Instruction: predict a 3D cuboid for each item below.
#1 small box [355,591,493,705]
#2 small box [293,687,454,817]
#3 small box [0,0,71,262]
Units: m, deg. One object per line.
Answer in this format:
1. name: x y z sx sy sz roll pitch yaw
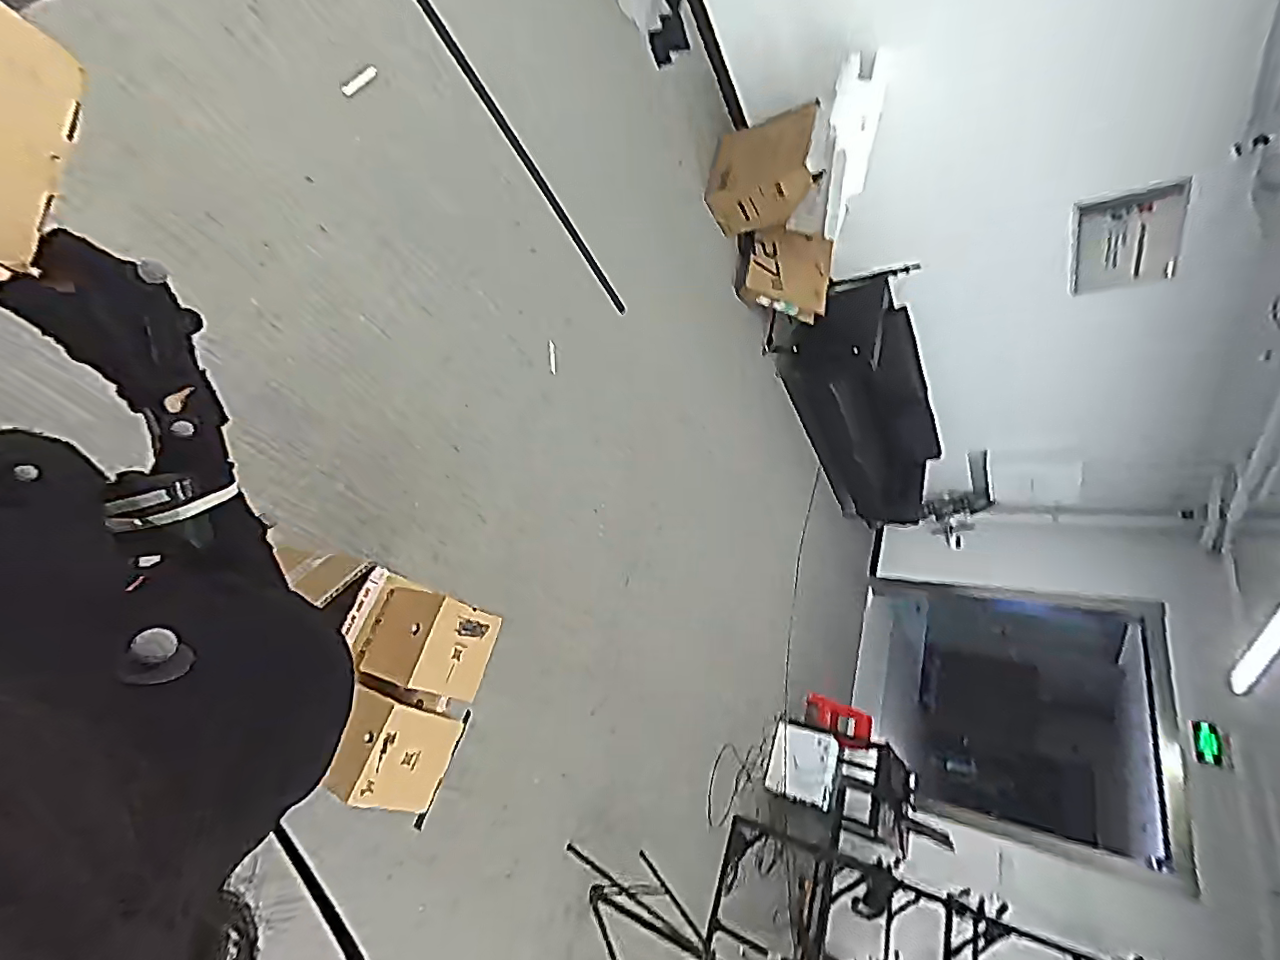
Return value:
1. small box: -0.439 0.337 1.102 0.168 0.176 0.179 45 54 -47
2. small box: -0.499 0.508 1.019 0.179 0.176 0.168 49 54 -45
3. small box: -0.502 -0.238 0.306 0.179 0.176 0.168 29 63 -70
